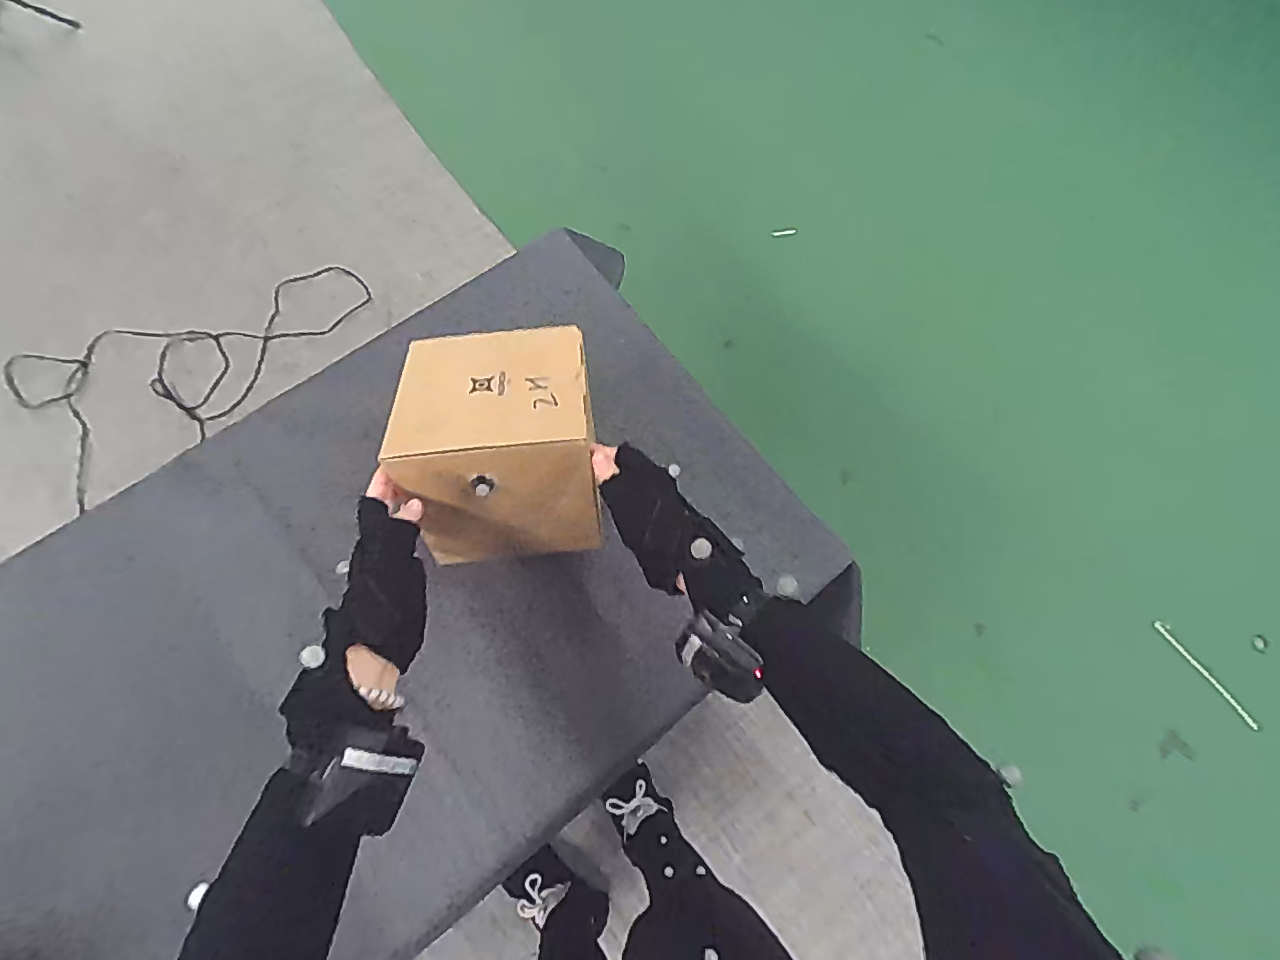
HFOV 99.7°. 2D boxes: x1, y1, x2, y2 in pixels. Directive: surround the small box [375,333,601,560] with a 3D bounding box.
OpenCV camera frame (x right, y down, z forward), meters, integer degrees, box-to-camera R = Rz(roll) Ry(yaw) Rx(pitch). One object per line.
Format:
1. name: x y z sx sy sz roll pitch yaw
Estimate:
1. small box: -0.136 -0.030 0.557 0.179 0.176 0.168 -4 48 -3
